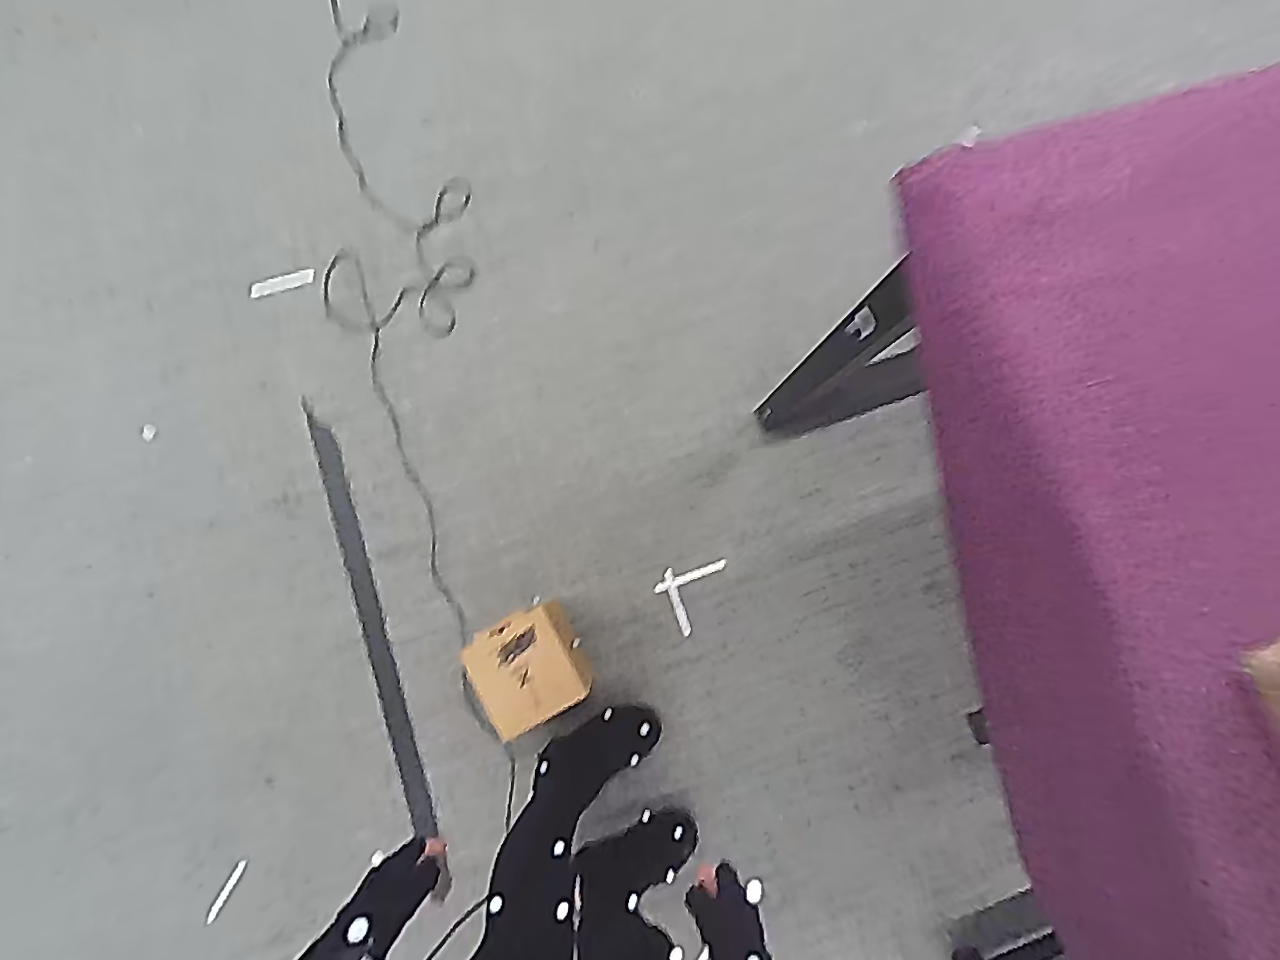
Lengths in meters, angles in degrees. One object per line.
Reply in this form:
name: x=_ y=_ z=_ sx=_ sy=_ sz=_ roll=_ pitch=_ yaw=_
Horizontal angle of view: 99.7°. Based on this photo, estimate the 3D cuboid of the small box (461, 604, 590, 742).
small box: x=-0.204 y=0.345 z=1.009 sx=0.168 sy=0.176 sz=0.179 roll=-28 pitch=85 yaw=-5
